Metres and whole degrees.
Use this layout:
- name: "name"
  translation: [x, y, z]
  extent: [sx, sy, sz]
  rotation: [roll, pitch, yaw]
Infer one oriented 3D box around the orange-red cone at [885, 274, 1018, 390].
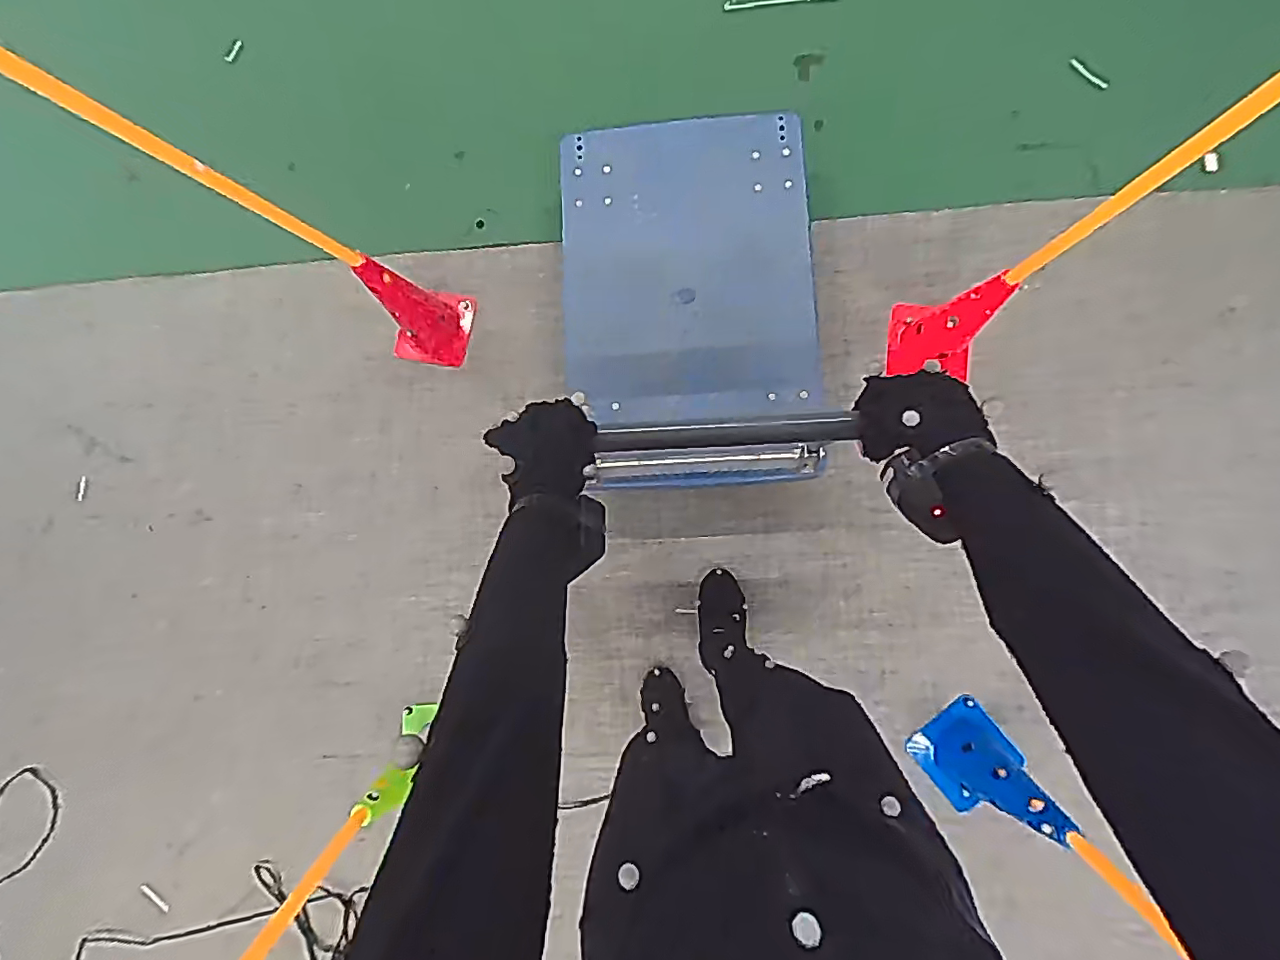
- name: "orange-red cone"
  translation: [0.712, -0.350, 1.194]
  extent: [0.198, 0.360, 0.199]
  rotation: [9, 85, 6]
